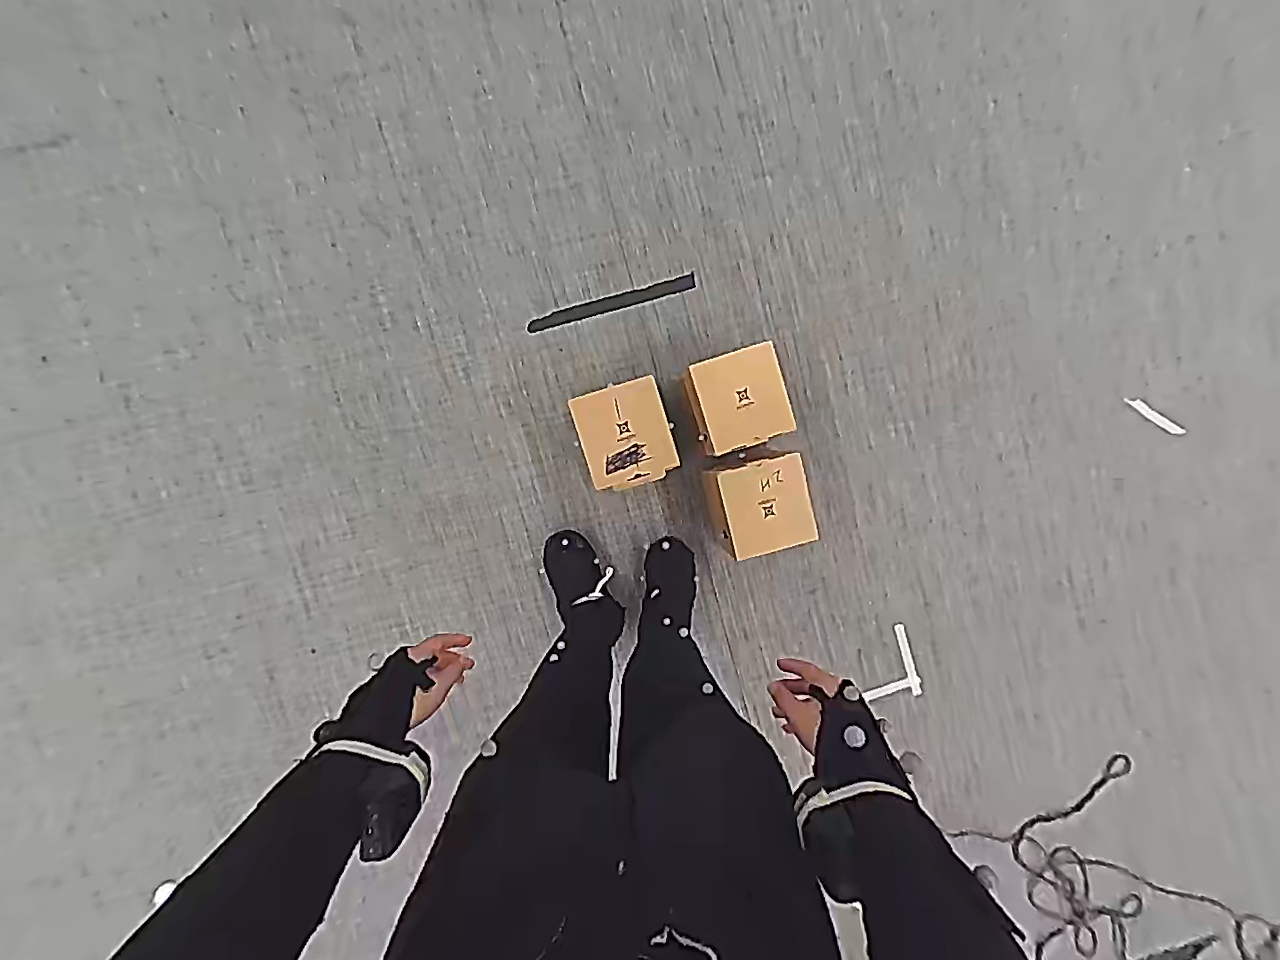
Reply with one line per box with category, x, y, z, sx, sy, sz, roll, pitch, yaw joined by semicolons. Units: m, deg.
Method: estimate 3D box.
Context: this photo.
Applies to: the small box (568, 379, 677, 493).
small box;-0.034;-0.086;1.066;0.168;0.176;0.179;-17;94;-3
